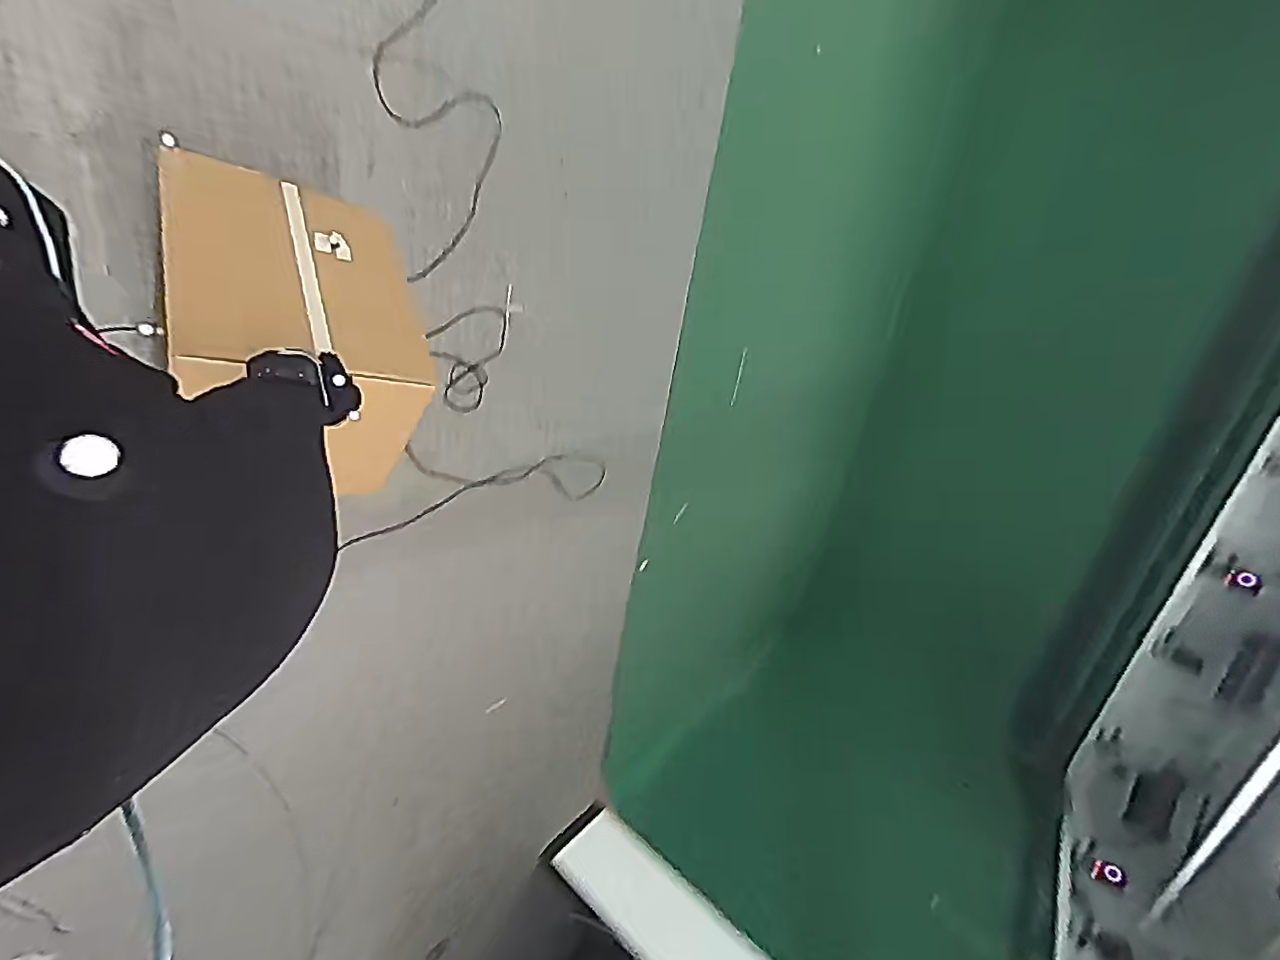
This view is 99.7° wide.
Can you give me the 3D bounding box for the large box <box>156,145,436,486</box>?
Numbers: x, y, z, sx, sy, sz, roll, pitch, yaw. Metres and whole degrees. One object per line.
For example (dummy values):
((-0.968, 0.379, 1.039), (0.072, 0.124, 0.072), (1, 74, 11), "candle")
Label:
((-0.585, -0.240, 0.897), (0.320, 0.408, 0.320), (-2, 148, -44), "large box")
